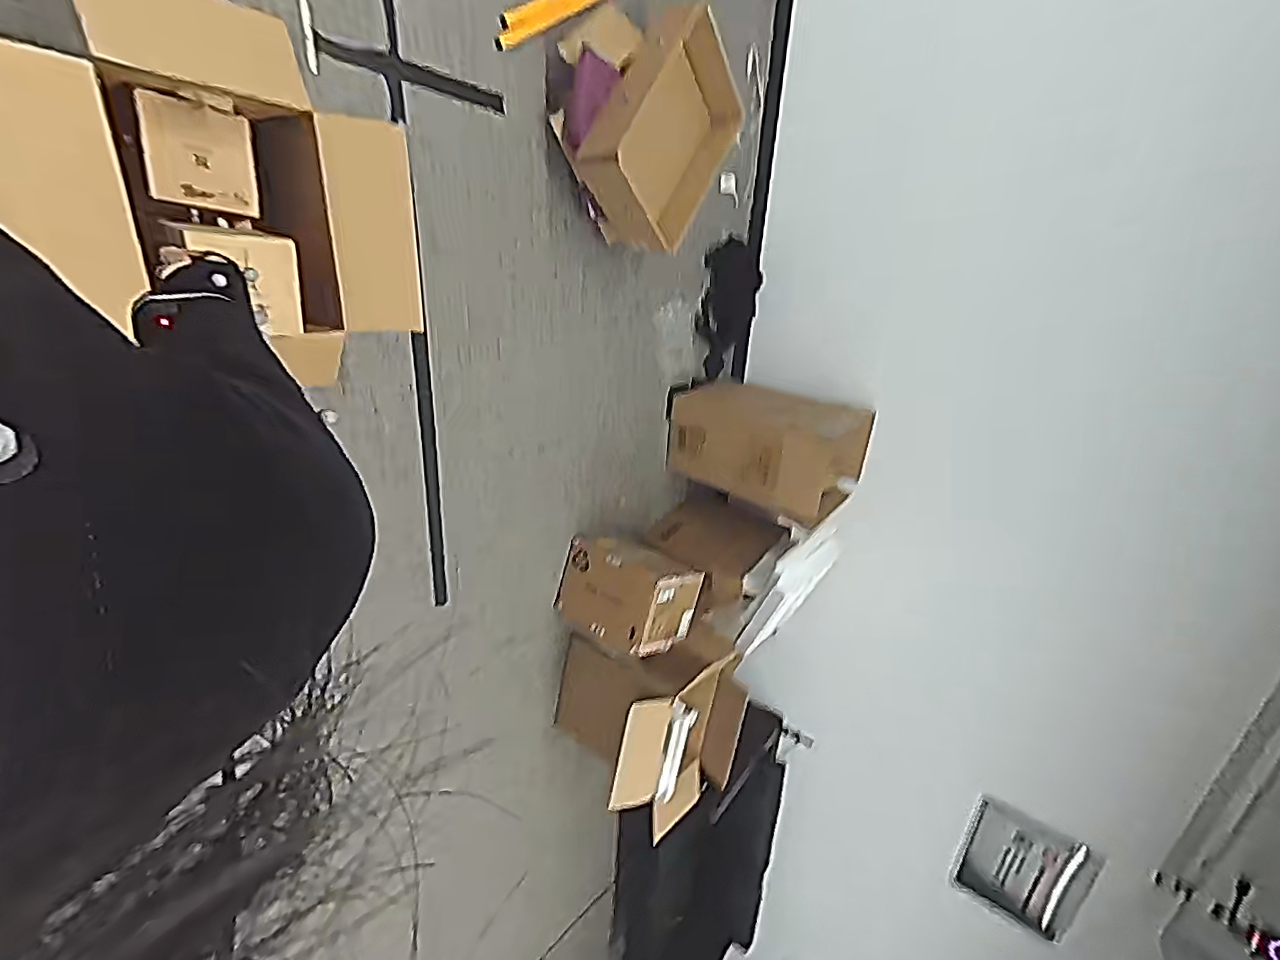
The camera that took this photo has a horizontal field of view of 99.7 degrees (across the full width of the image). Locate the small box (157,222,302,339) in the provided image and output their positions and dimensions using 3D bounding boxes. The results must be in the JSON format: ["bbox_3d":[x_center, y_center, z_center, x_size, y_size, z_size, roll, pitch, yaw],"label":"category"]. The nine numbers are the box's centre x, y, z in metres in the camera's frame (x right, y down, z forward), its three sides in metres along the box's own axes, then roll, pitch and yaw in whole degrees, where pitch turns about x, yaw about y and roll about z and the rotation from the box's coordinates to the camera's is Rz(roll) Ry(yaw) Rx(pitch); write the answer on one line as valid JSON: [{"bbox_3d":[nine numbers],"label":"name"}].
[{"bbox_3d":[-0.760,-0.368,1.006,0.168,0.176,0.179,-19,125,-49],"label":"small box"}]
